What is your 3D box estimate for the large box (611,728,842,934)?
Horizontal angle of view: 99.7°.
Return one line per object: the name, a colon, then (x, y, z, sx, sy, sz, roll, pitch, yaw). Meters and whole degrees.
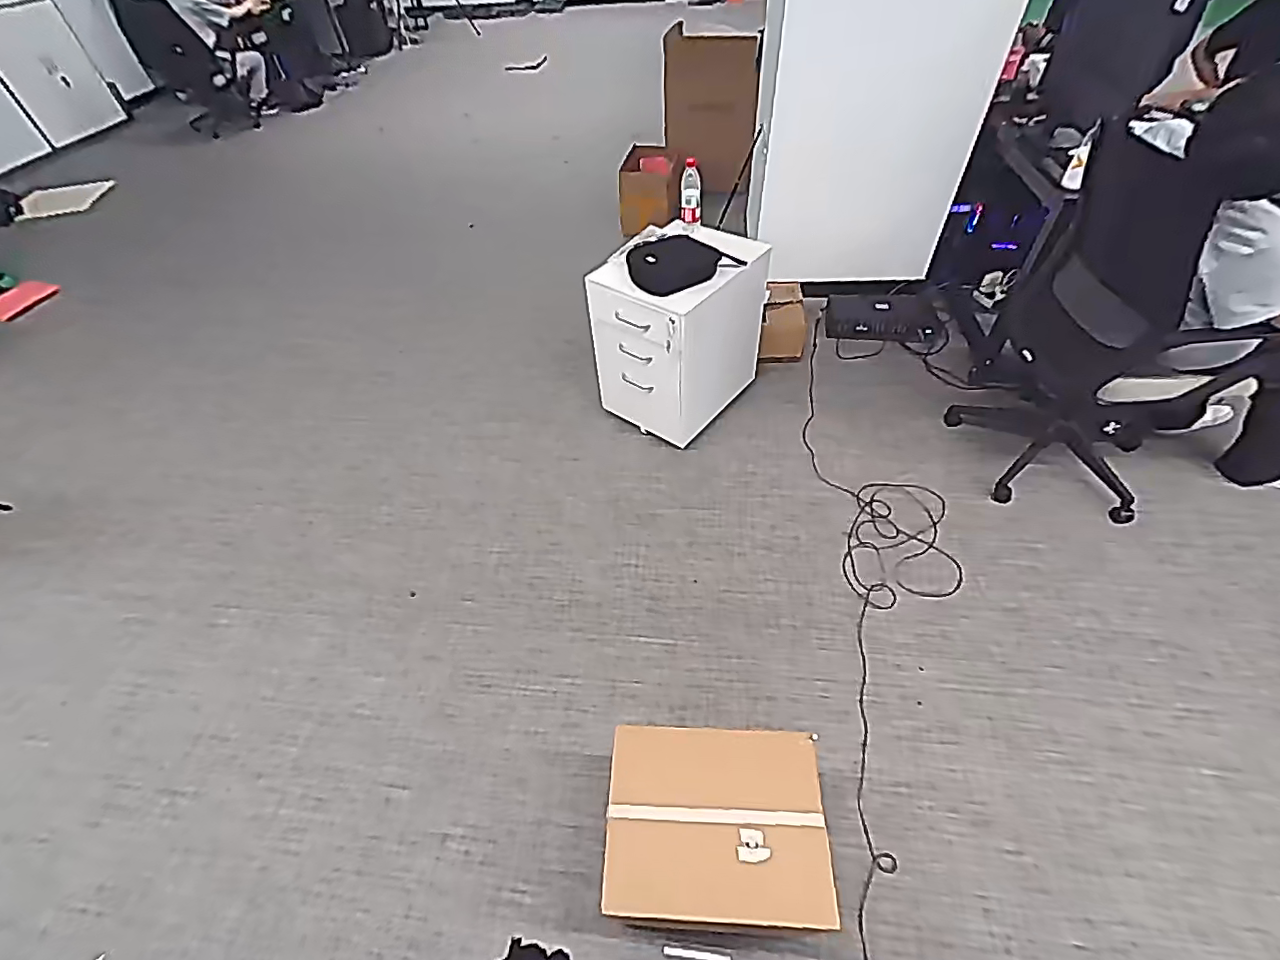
large box: (0.156, 0.735, 1.130, 0.408, 0.320, 0.320, 0, 49, 4)
